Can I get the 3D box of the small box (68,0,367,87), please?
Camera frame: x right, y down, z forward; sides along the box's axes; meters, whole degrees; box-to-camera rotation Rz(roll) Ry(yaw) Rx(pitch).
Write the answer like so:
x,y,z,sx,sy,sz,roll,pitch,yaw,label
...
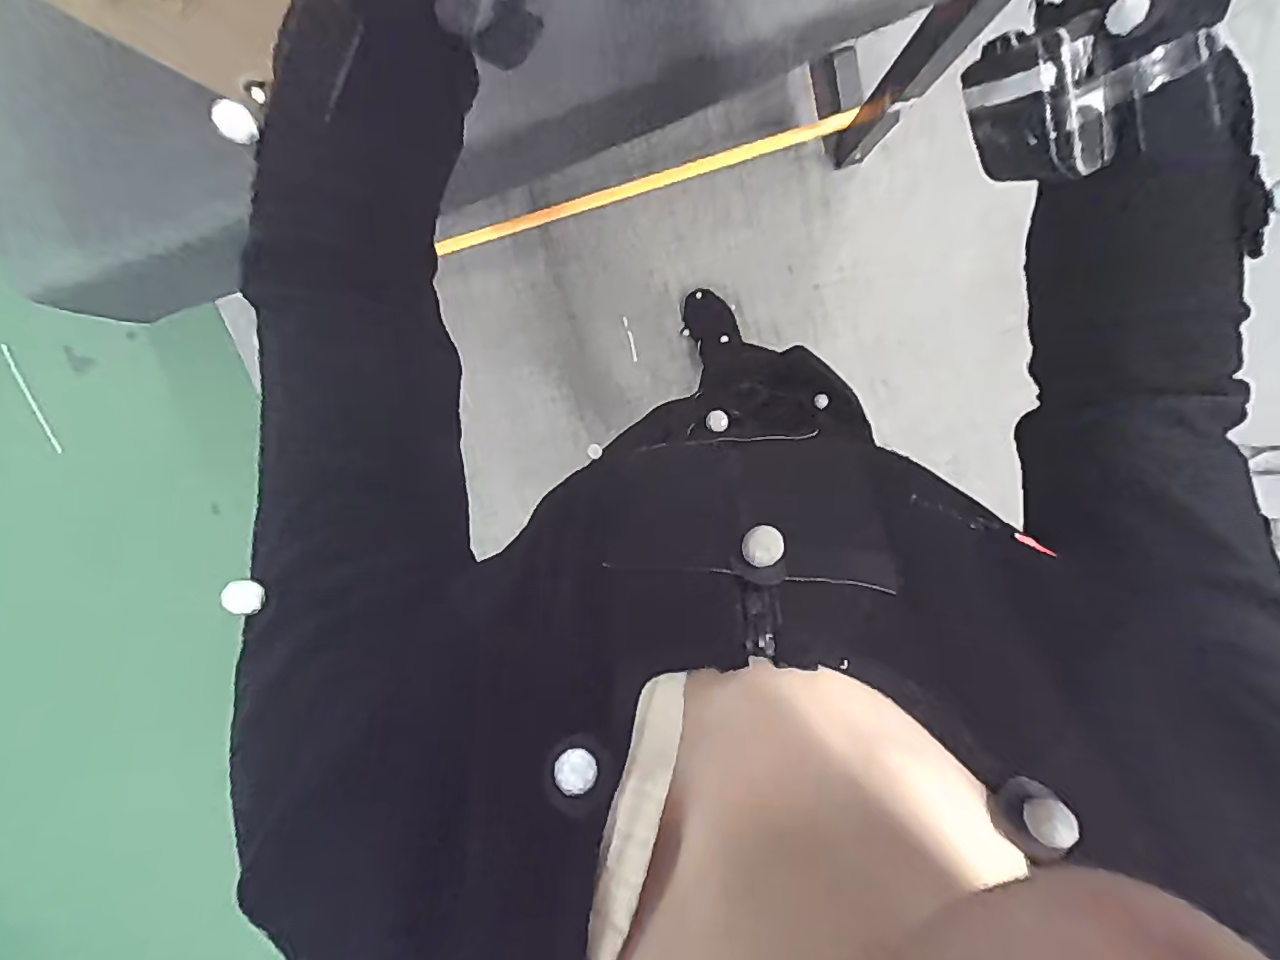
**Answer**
x,y,z,sx,sy,sz,roll,pitch,yaw,label
-0.371,-0.475,0.456,0.168,0.176,0.179,-17,101,9,small box
